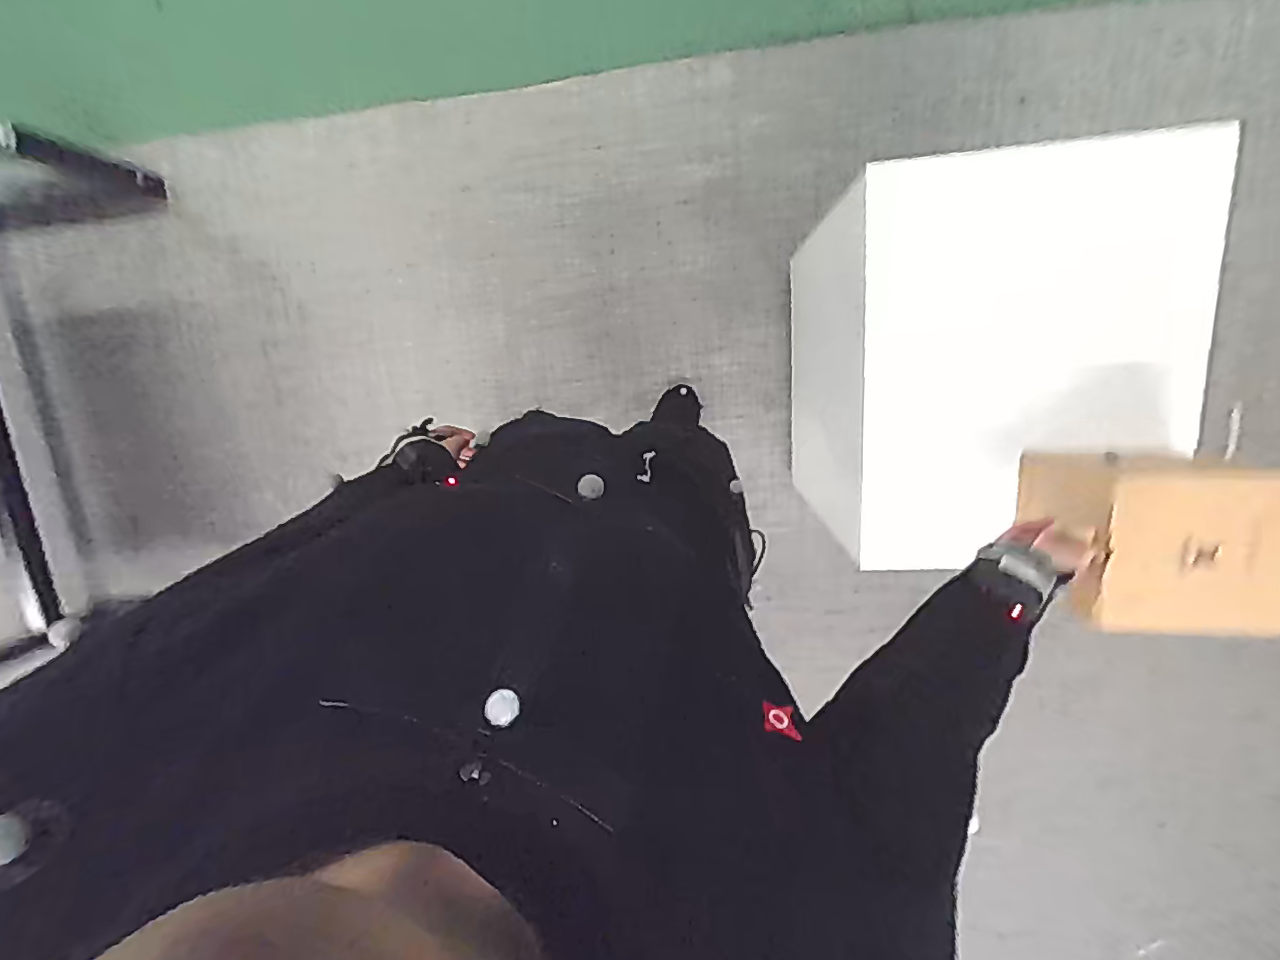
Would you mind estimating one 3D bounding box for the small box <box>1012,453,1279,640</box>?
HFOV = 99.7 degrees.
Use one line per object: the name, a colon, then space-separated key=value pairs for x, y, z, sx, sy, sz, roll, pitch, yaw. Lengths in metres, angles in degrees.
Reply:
small box: x=0.561 y=0.063 z=0.613 sx=0.179 sy=0.176 sz=0.168 roll=0 pitch=102 yaw=6
